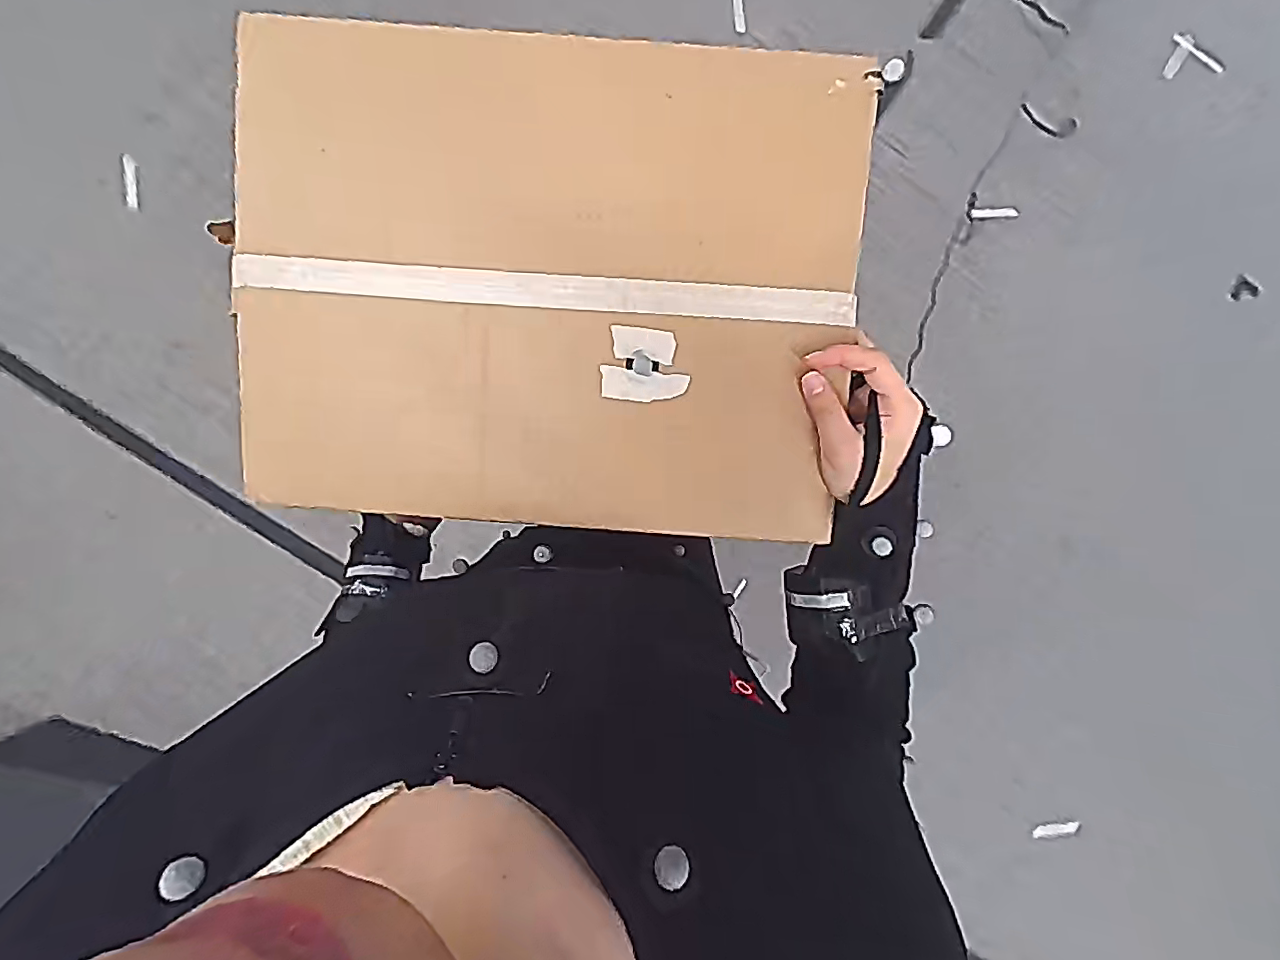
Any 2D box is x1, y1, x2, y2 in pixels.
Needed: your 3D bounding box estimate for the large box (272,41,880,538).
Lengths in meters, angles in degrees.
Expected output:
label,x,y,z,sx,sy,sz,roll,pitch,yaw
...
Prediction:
label,x,y,z,sx,sy,sz,roll,pitch,yaw
large box,-0.051,-0.136,0.515,0.408,0.320,0.320,4,97,-1
